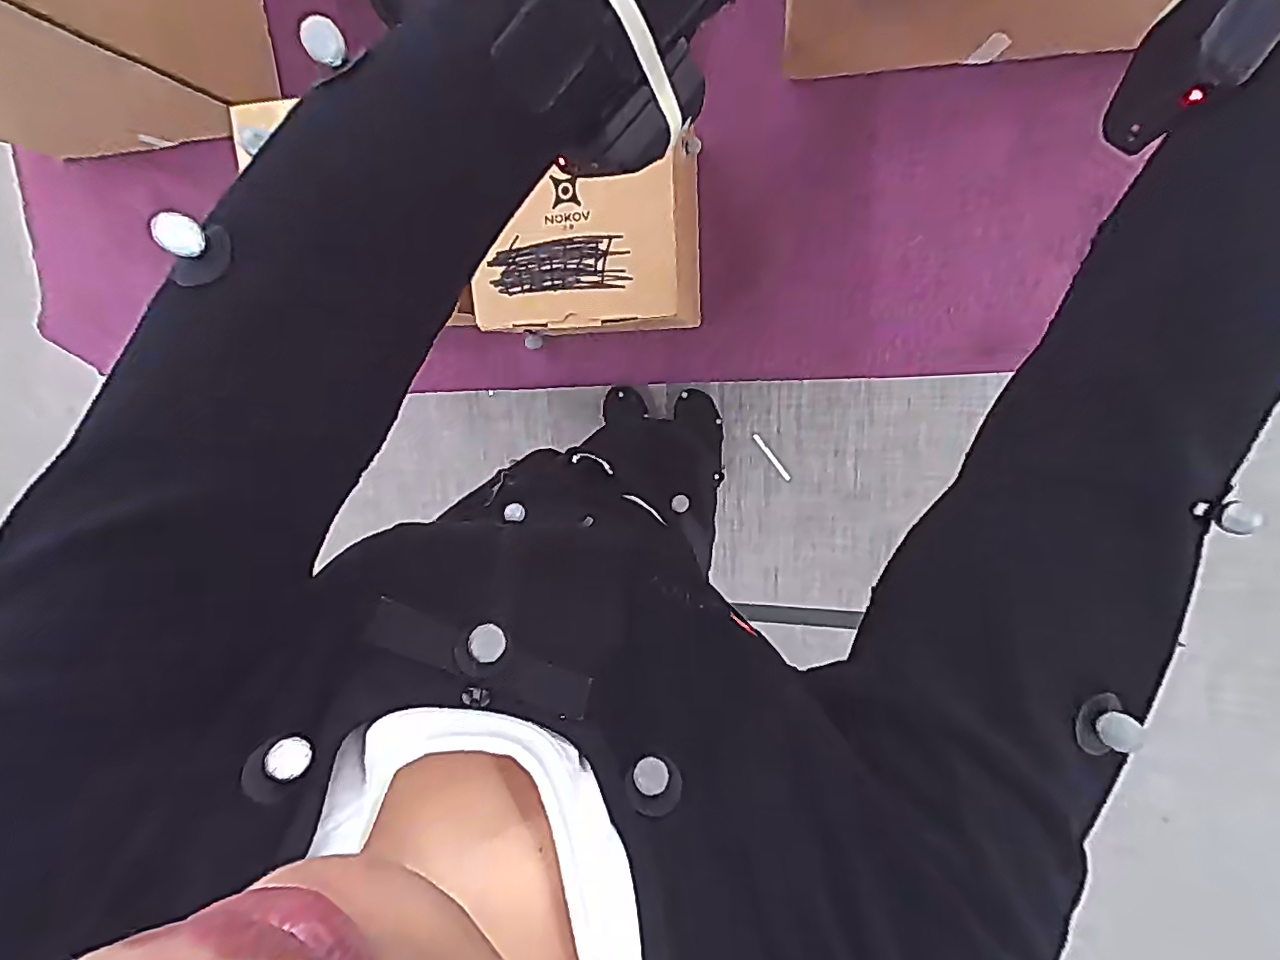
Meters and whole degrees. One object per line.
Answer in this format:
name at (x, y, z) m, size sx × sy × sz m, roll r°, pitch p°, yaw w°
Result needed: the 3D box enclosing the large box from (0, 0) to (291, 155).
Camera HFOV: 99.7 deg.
large box at (-0.570, -0.543, 0.435) m, size 0.320 × 0.320 × 0.408 m, roll -1°, pitch 106°, yaw 10°
